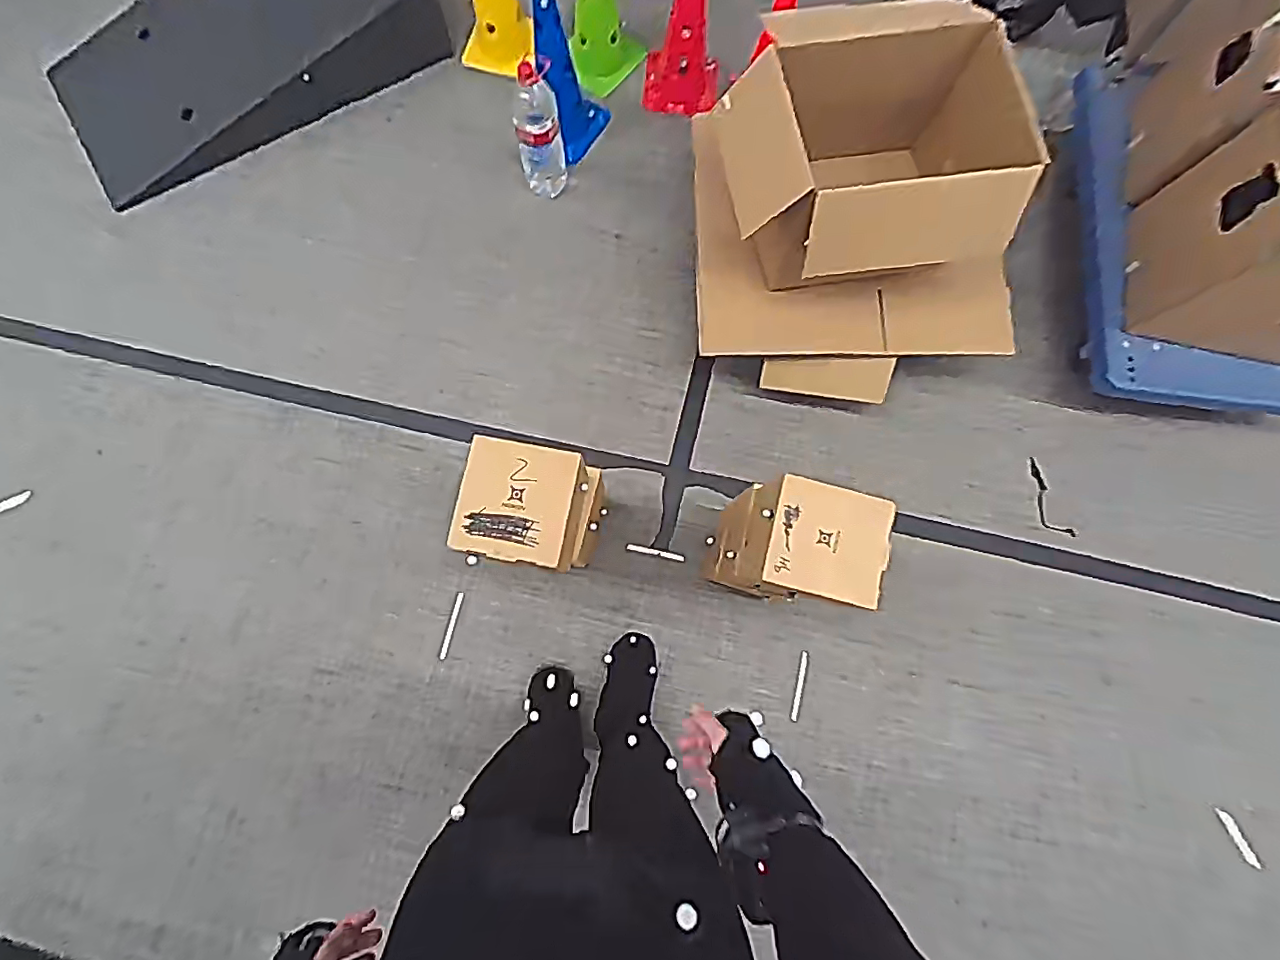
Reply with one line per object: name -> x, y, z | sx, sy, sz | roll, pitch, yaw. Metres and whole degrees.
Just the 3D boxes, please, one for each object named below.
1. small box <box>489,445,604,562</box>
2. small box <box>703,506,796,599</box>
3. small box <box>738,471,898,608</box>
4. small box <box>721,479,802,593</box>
small box -> -0.167, 0.053, 1.031 | 0.168, 0.176, 0.179 | 14, 79, 1
small box -> 0.253, 0.153, 1.192 | 0.179, 0.176, 0.168 | 18, 80, 1
small box -> 0.277, 0.096, 0.872 | 0.179, 0.176, 0.168 | 16, 81, -1
small box -> 0.262, 0.113, 1.035 | 0.168, 0.176, 0.179 | 13, 81, 0
